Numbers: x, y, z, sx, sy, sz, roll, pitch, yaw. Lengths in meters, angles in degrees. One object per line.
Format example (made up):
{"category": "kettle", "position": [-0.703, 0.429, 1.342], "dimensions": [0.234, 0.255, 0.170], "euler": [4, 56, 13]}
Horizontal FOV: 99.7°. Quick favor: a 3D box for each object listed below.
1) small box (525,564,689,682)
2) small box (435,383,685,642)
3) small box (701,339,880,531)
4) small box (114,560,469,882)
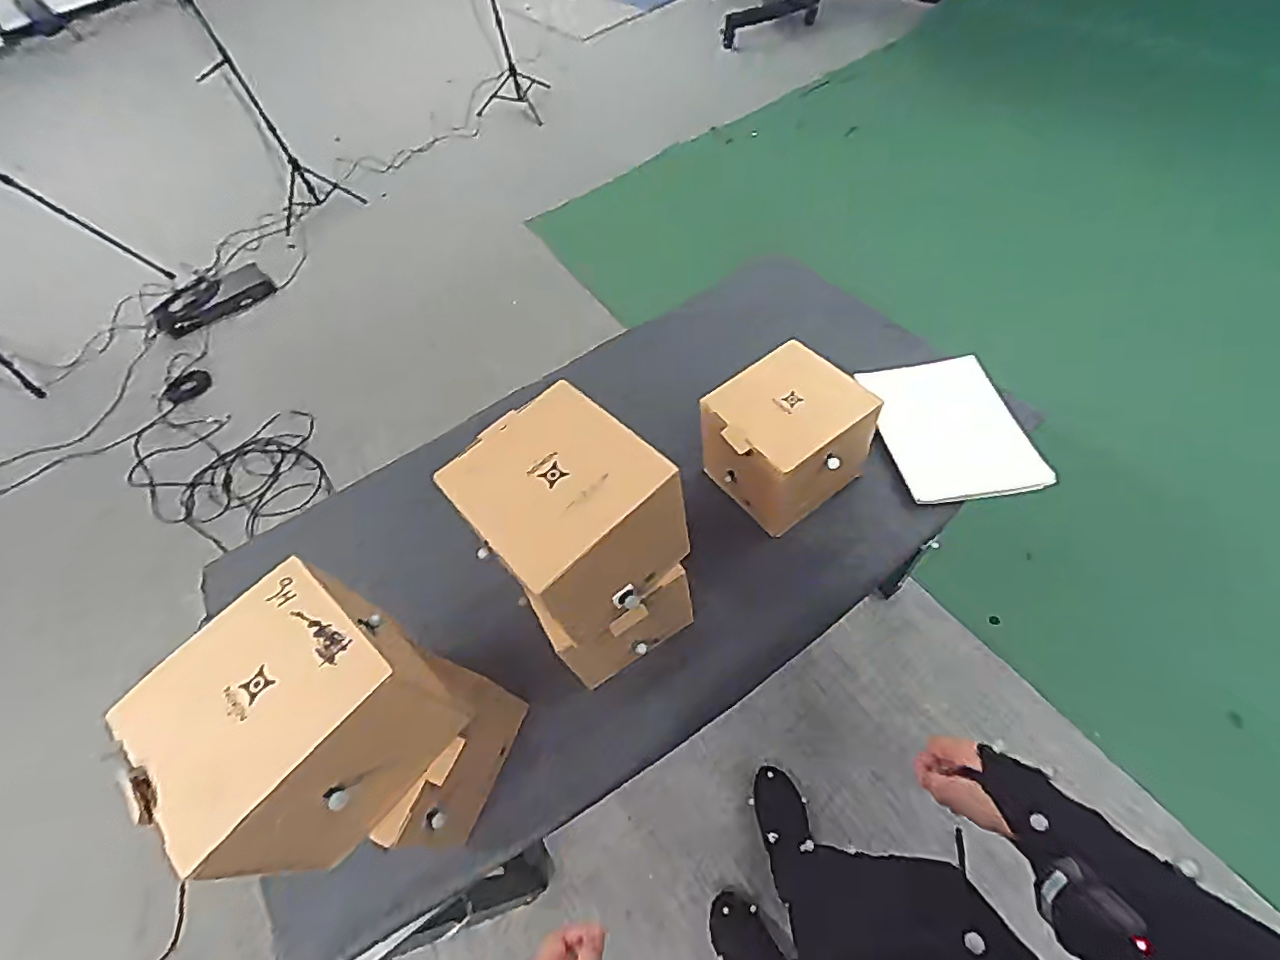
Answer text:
{"category": "small box", "position": [-0.053, 0.129, 0.698], "dimensions": [0.168, 0.176, 0.179], "euler": [-32, 58, -10]}
{"category": "small box", "position": [-0.071, 0.039, 0.564], "dimensions": [0.168, 0.176, 0.179], "euler": [-42, 60, -16]}
{"category": "small box", "position": [0.205, -0.061, 0.779], "dimensions": [0.179, 0.176, 0.168], "euler": [-35, 58, -13]}
{"category": "small box", "position": [-0.291, 0.212, 0.487], "dimensions": [0.168, 0.176, 0.179], "euler": [33, 69, 26]}
